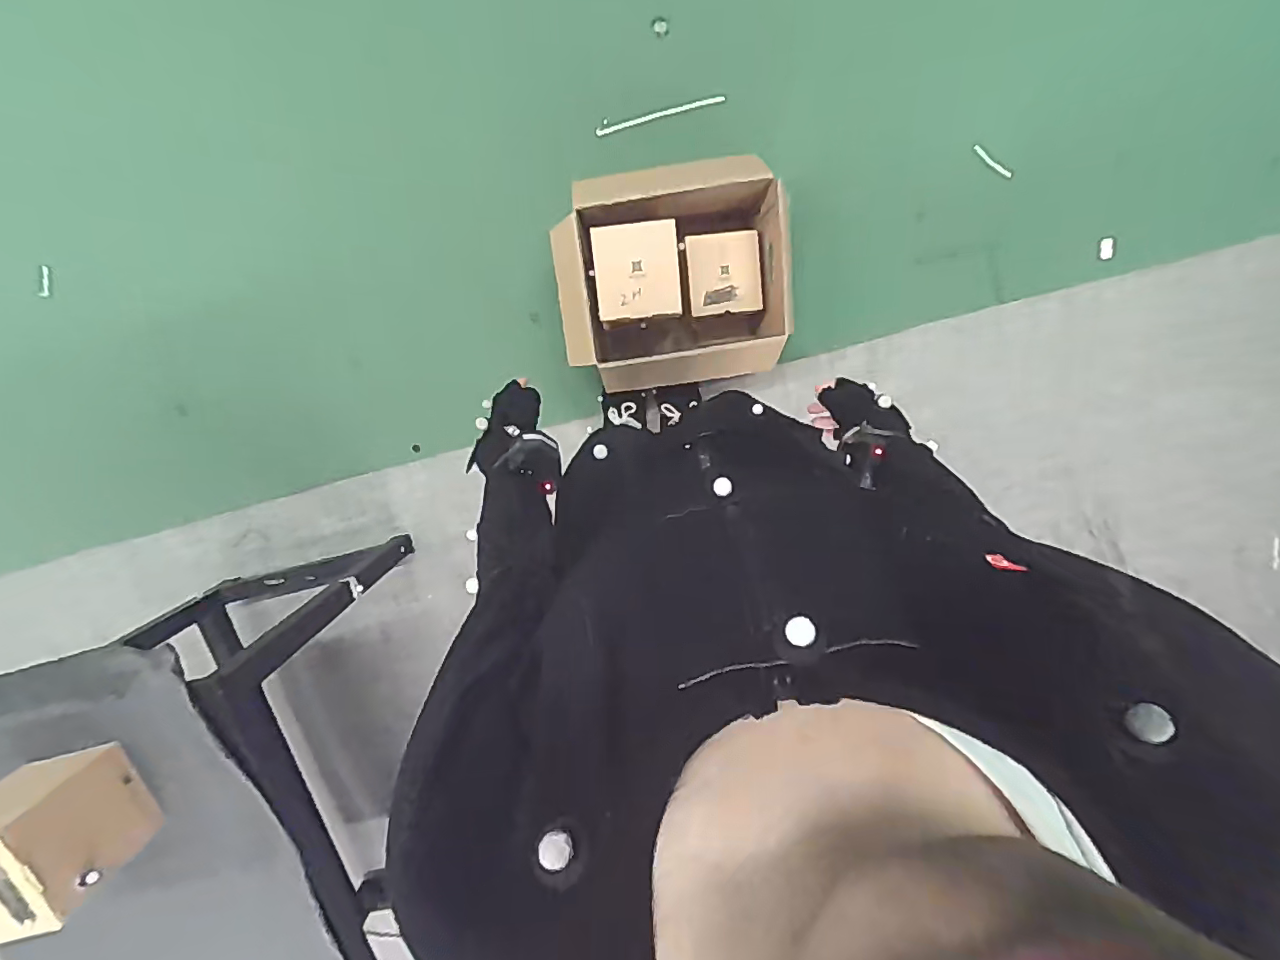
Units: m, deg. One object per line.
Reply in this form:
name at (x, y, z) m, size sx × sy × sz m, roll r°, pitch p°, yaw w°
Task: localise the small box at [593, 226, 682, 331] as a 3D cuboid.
small box at (-0.003, -0.412, 1.130) m, size 0.168 × 0.176 × 0.179 m, roll -5°, pitch 103°, yaw 3°
